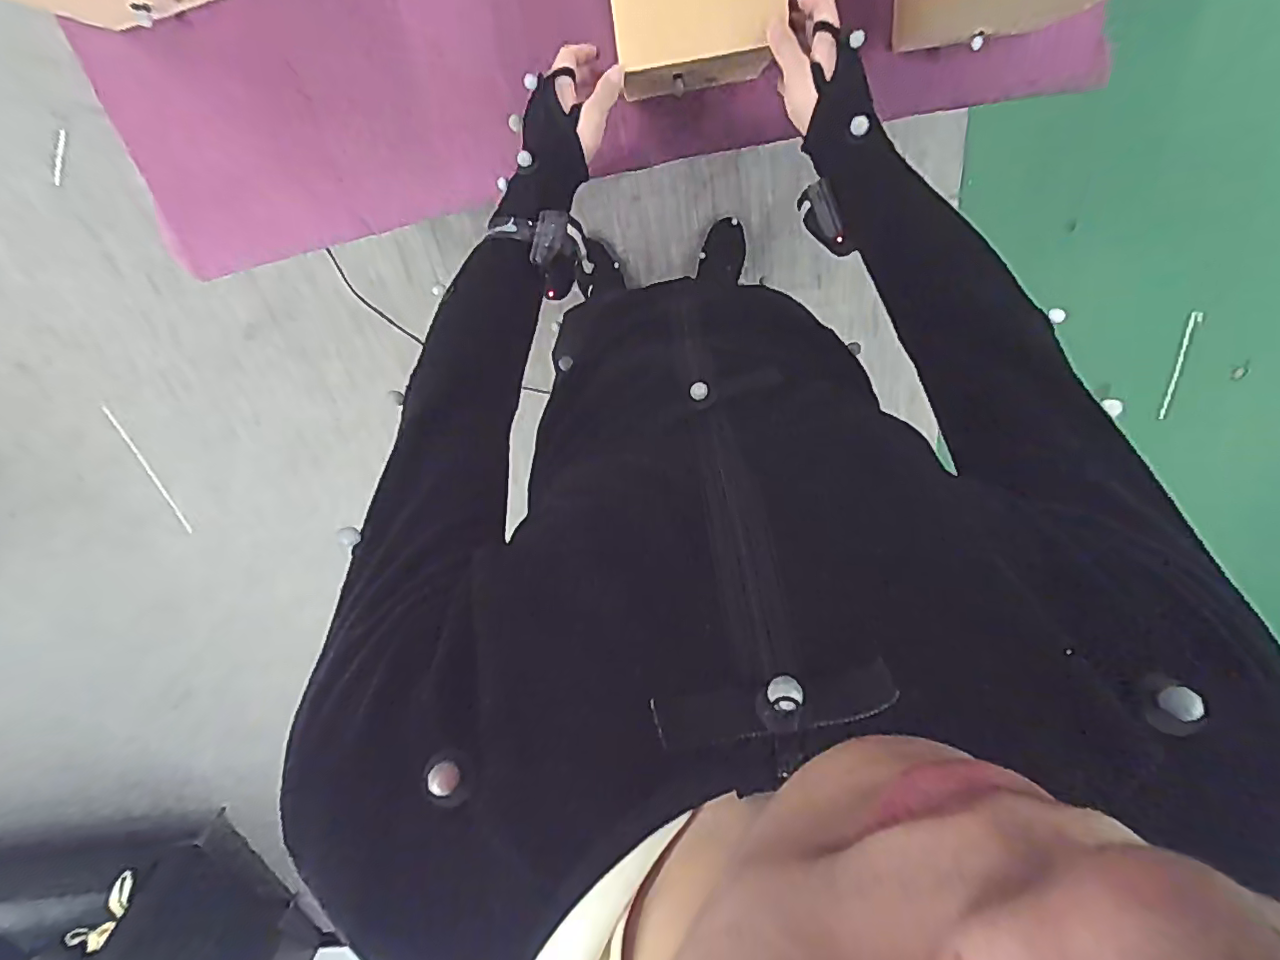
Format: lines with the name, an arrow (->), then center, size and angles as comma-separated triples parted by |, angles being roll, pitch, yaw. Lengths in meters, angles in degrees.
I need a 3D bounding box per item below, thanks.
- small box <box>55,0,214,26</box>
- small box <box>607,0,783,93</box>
small box -> -0.568, -0.594, 0.531 | 0.168, 0.176, 0.179 | -11, 118, 8
small box -> 0.050, -0.520, 0.555 | 0.168, 0.176, 0.179 | -6, 116, 5
